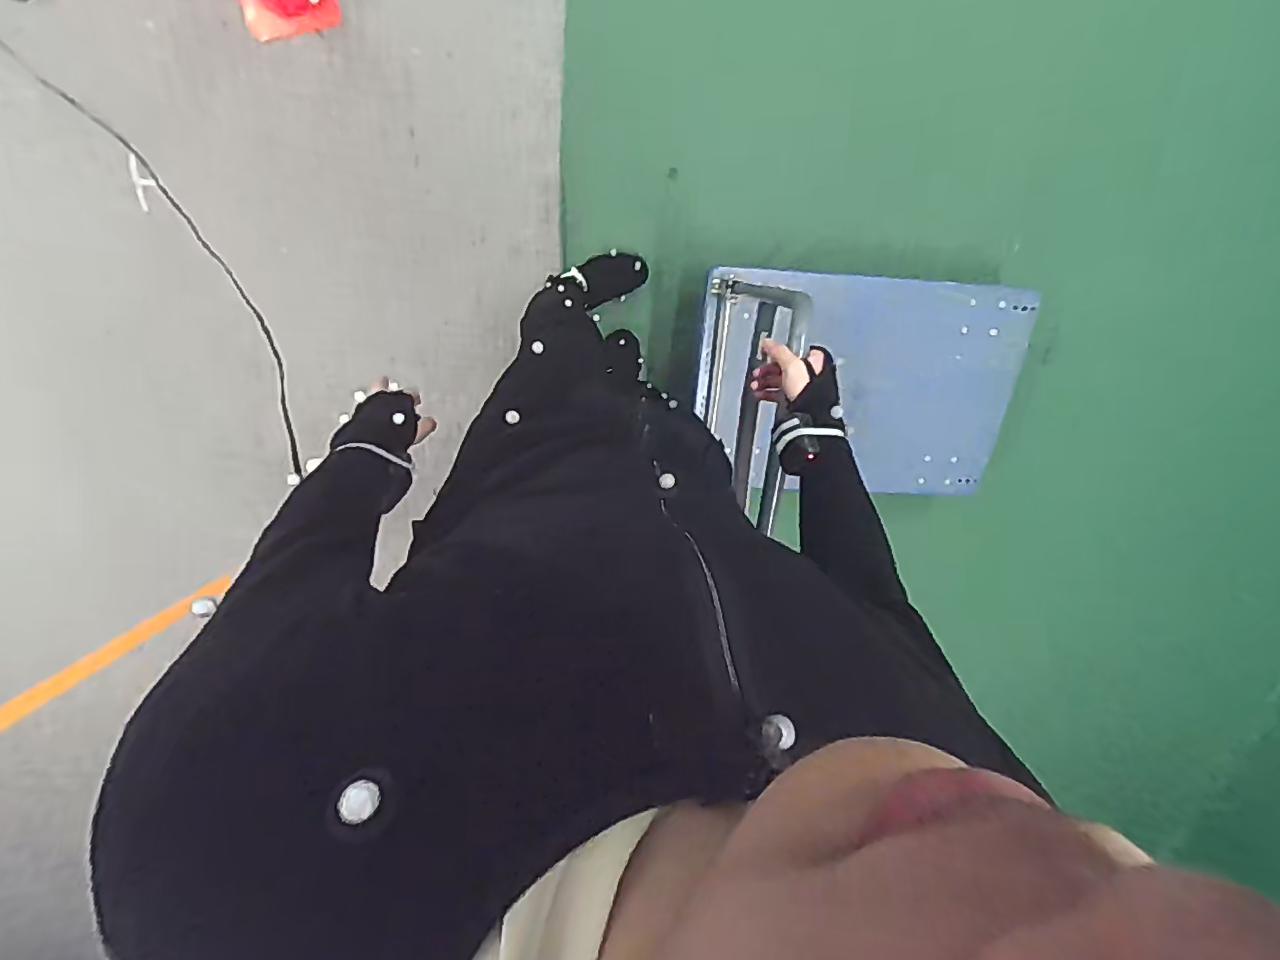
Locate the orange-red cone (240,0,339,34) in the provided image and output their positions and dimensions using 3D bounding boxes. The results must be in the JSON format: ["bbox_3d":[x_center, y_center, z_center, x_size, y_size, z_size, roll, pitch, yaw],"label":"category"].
[{"bbox_3d":[-0.747,-1.010,0.983,0.198,0.360,0.199,-11,112,-1],"label":"orange-red cone"}]
